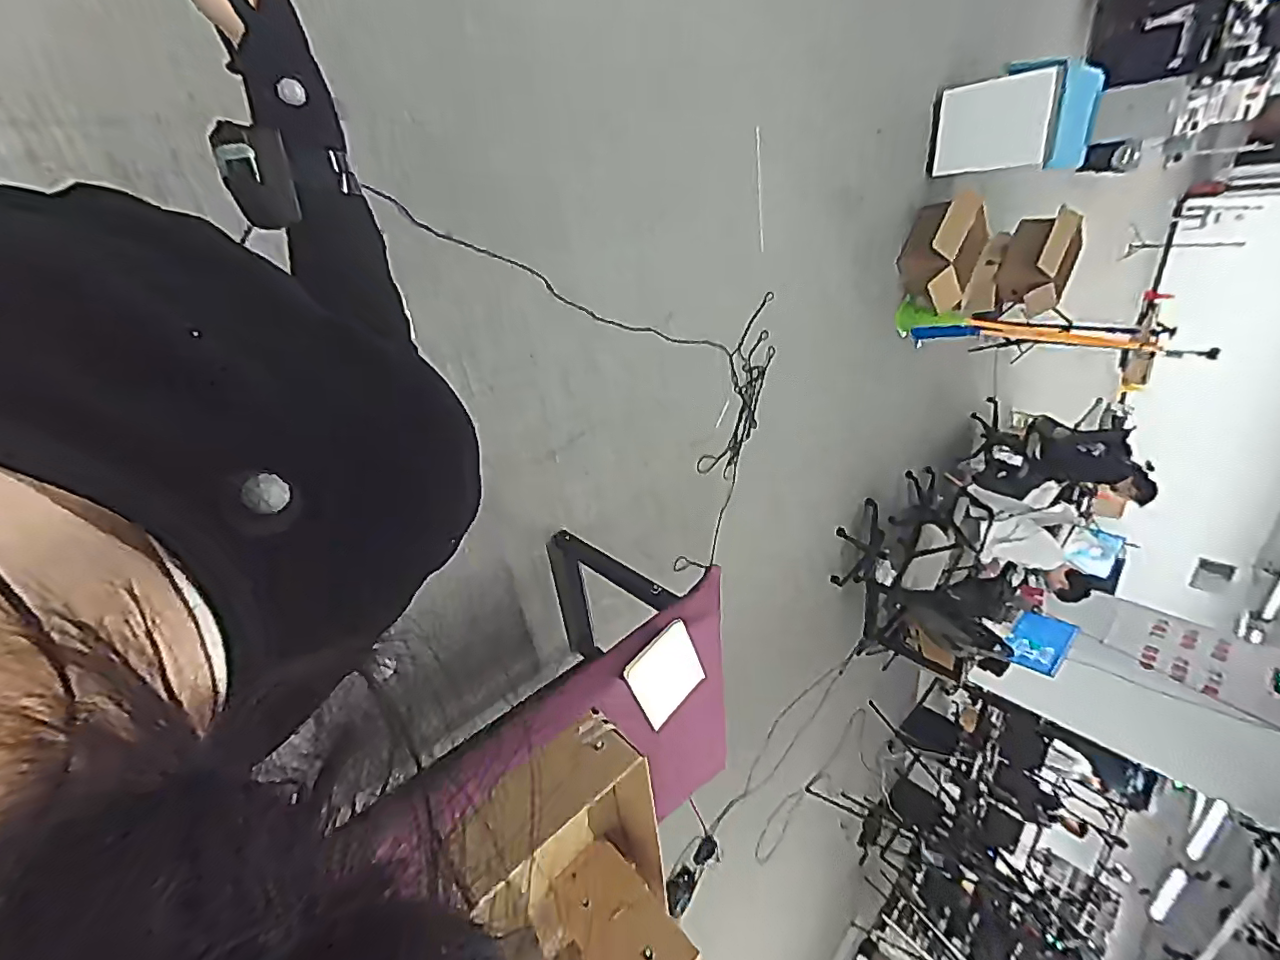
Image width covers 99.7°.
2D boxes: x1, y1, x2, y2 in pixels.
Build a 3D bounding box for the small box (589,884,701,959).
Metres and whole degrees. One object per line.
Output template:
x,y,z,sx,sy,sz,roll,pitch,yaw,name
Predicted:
0.010,1.016,1.134,0.179,0.176,0.168,-30,124,-34,small box
